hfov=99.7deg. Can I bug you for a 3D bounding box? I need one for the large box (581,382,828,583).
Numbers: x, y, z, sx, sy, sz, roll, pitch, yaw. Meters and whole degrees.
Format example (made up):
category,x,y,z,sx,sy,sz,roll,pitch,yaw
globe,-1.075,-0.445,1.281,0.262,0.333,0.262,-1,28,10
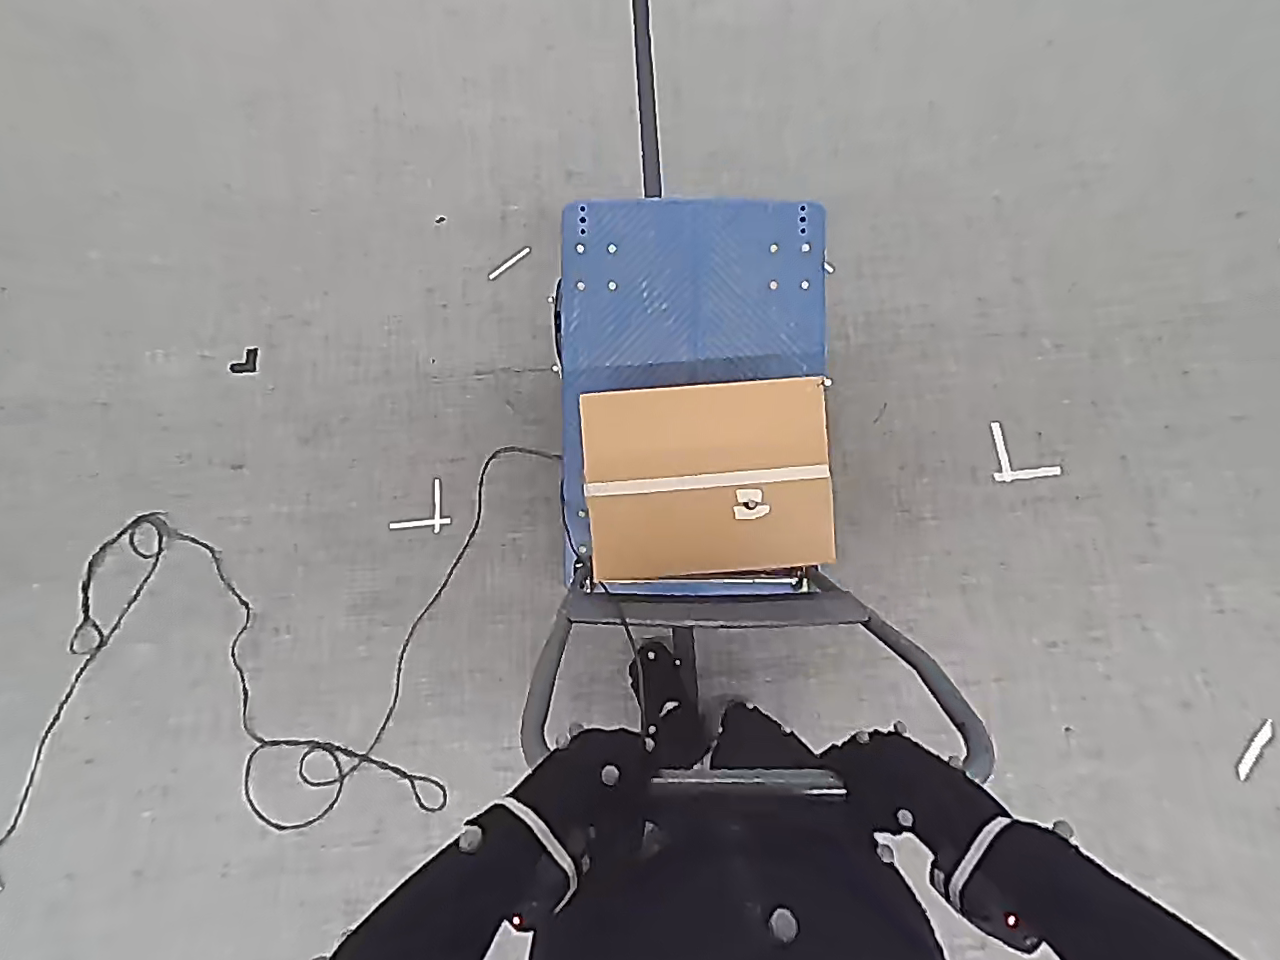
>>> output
category,x,y,z,sx,sy,sz,roll,pitch,yaw
large box,0.107,0.002,1.064,0.408,0.320,0.320,-5,92,-1
